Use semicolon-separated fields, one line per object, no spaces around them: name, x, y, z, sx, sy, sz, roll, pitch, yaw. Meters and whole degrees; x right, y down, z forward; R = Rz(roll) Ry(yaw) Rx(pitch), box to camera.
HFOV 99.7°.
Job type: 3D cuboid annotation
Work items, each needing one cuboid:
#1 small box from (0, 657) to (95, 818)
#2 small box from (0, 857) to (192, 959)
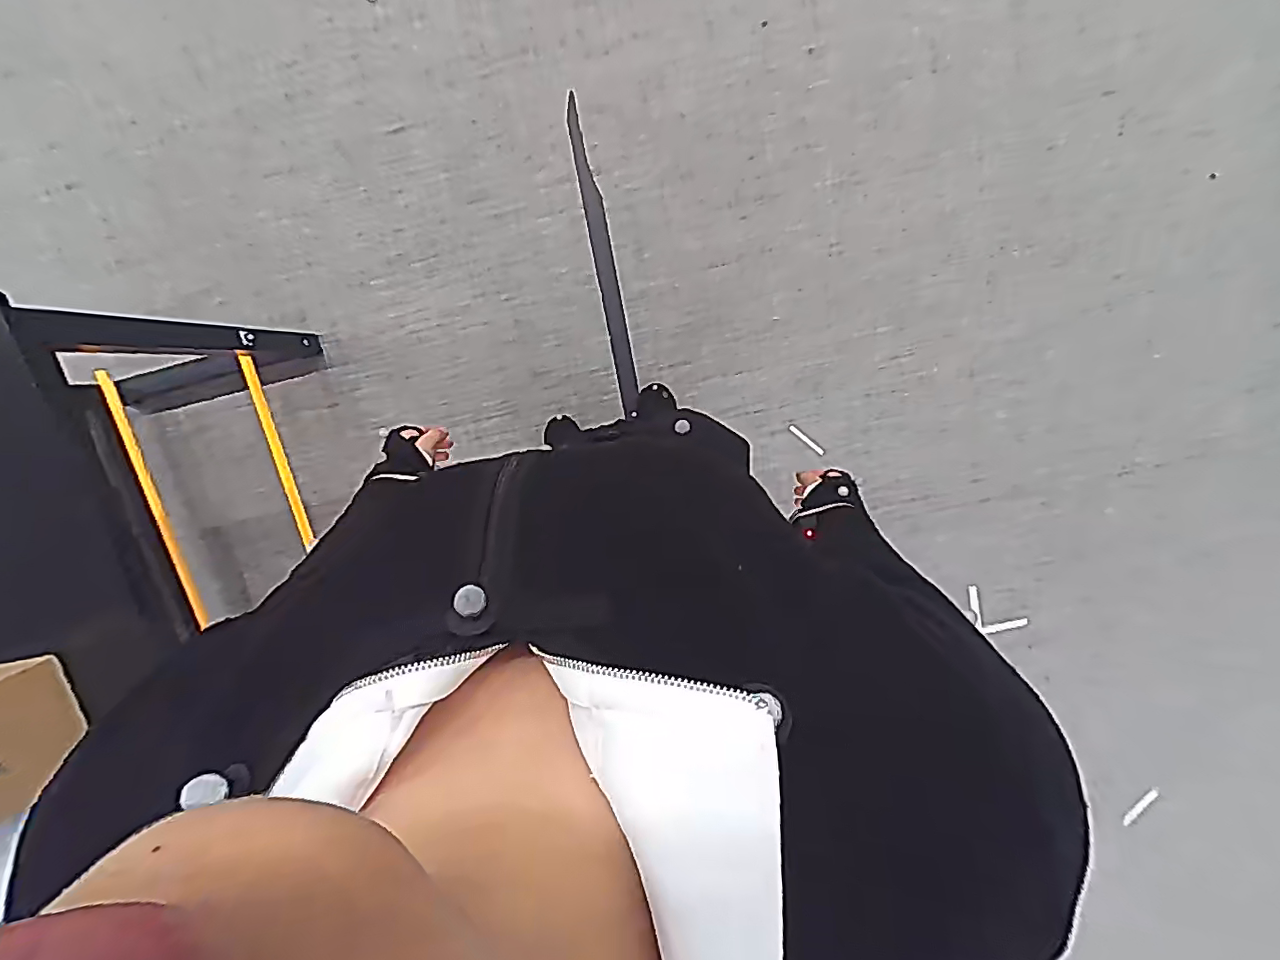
small box;-0.936;0.376;0.753;0.168;0.176;0.179;-11;101;3
small box;-0.853;0.721;0.825;0.179;0.176;0.168;-9;102;2
